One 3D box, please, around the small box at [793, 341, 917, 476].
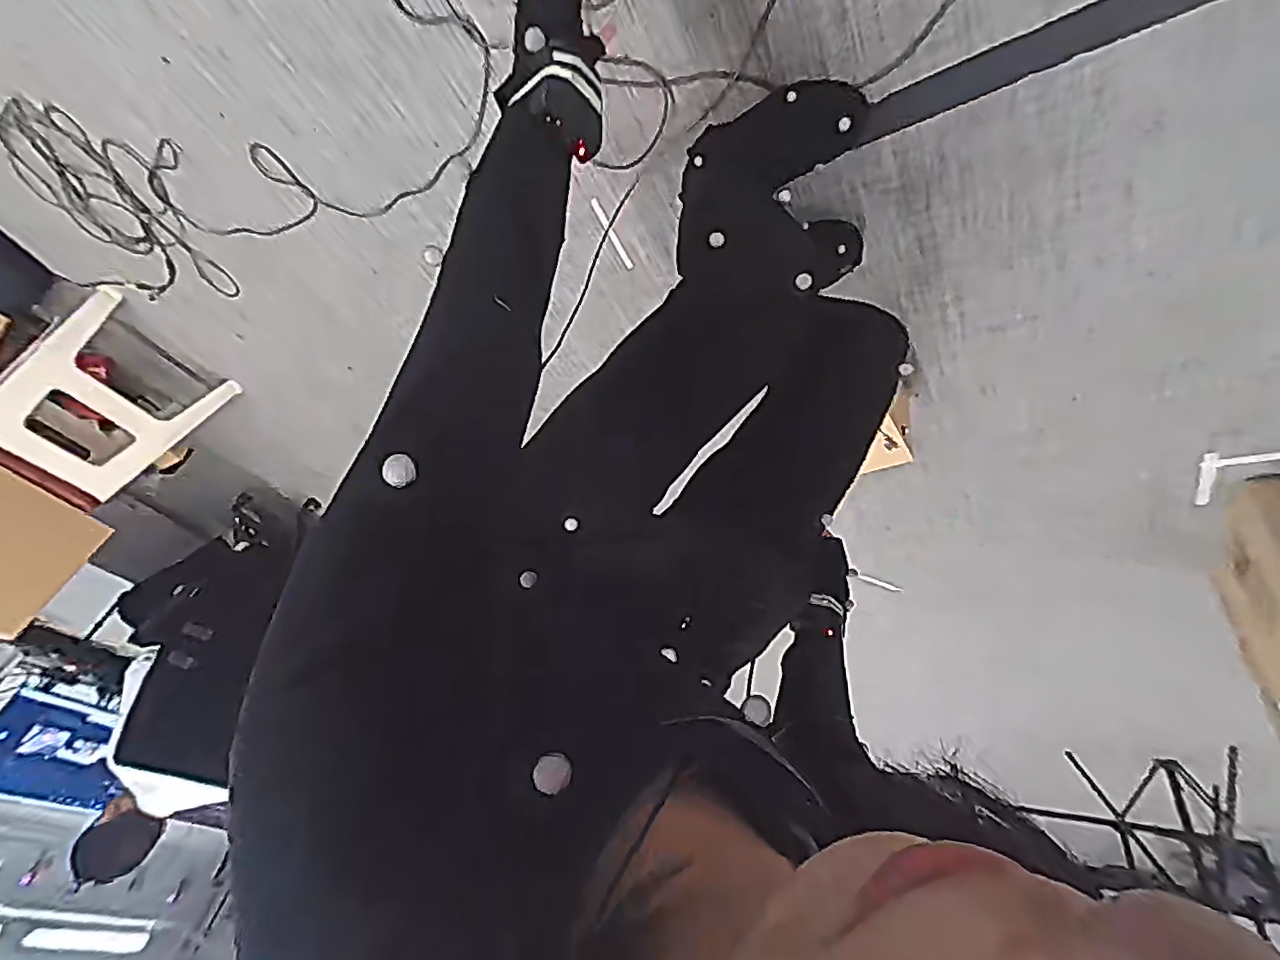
[{"bbox_3d":[0.420,-0.136,1.050,0.179,0.176,0.168,-16,134,38],"label":"small box"}]
